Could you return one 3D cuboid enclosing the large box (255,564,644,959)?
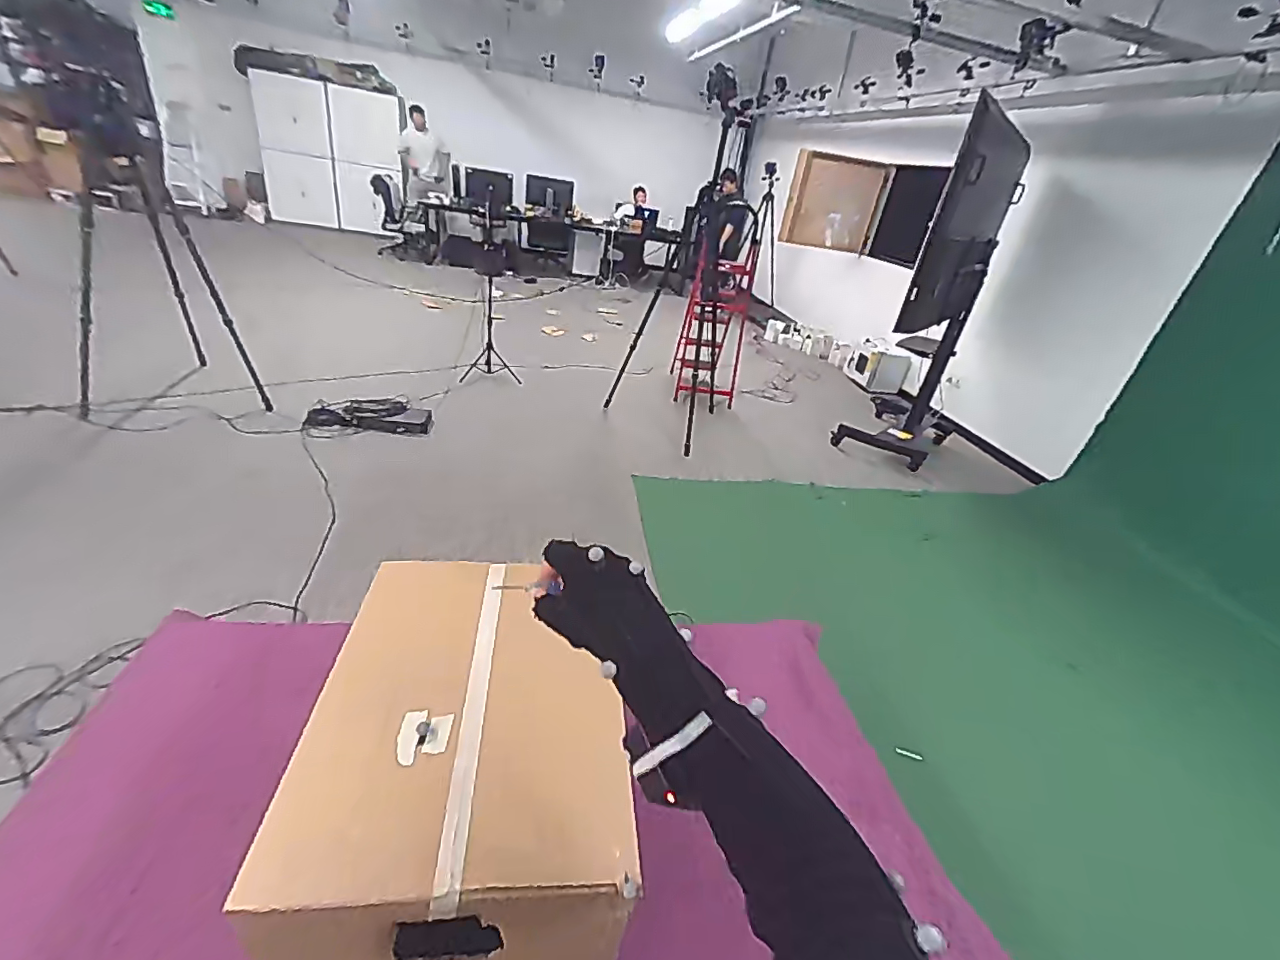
[{"bbox_3d":[-0.197,0.357,0.676,0.320,0.320,0.408,5,30,-10],"label":"large box"}]
